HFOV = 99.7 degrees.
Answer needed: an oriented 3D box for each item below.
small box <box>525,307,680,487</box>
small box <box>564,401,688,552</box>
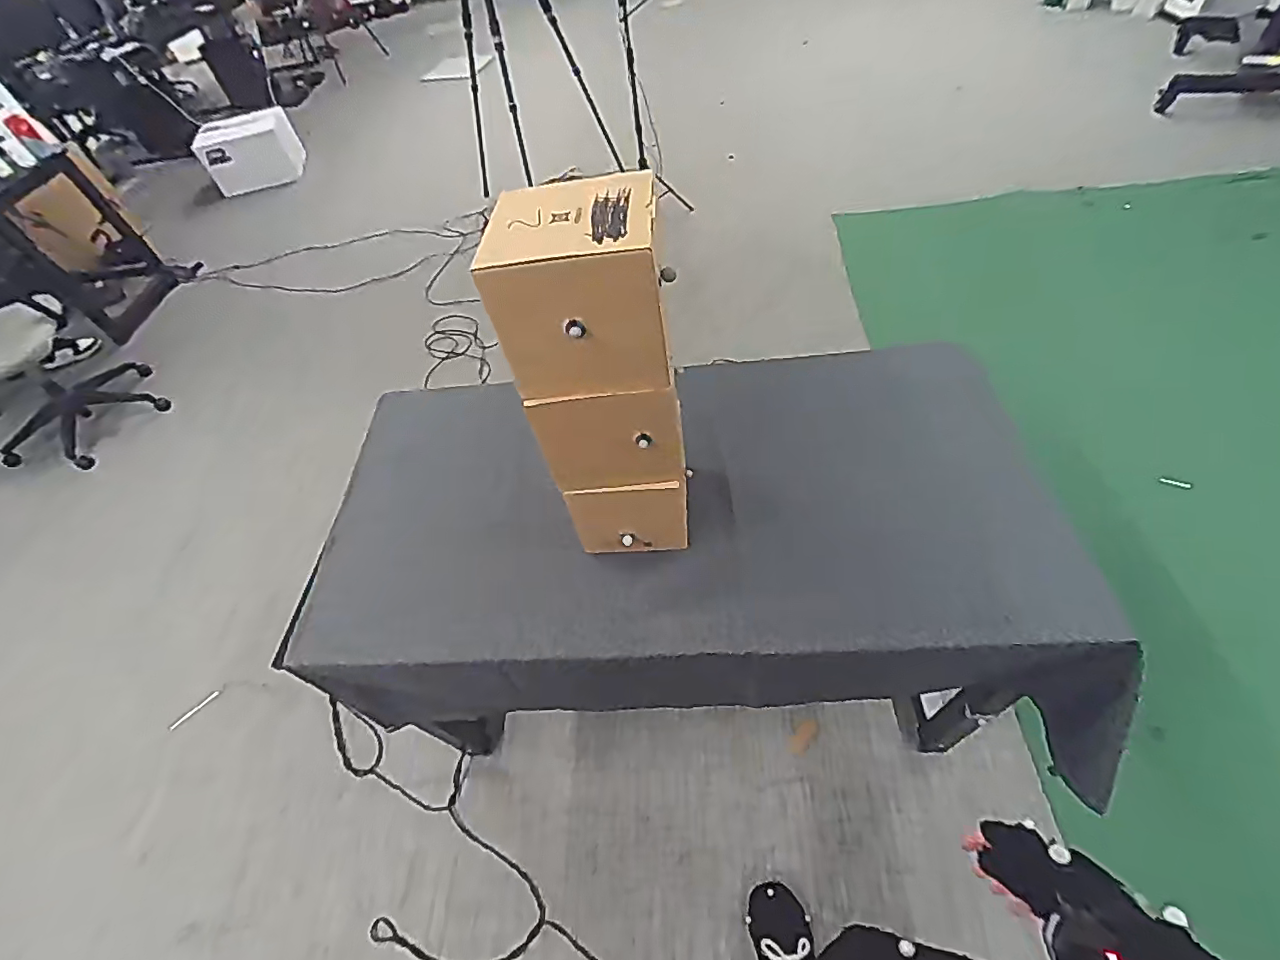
[{"bbox_3d":[-0.038,-0.107,0.731,0.179,0.176,0.168,-5,50,6],"label":"small box"},{"bbox_3d":[-0.012,-0.004,0.855,0.168,0.176,0.179,-3,52,8],"label":"small box"}]
